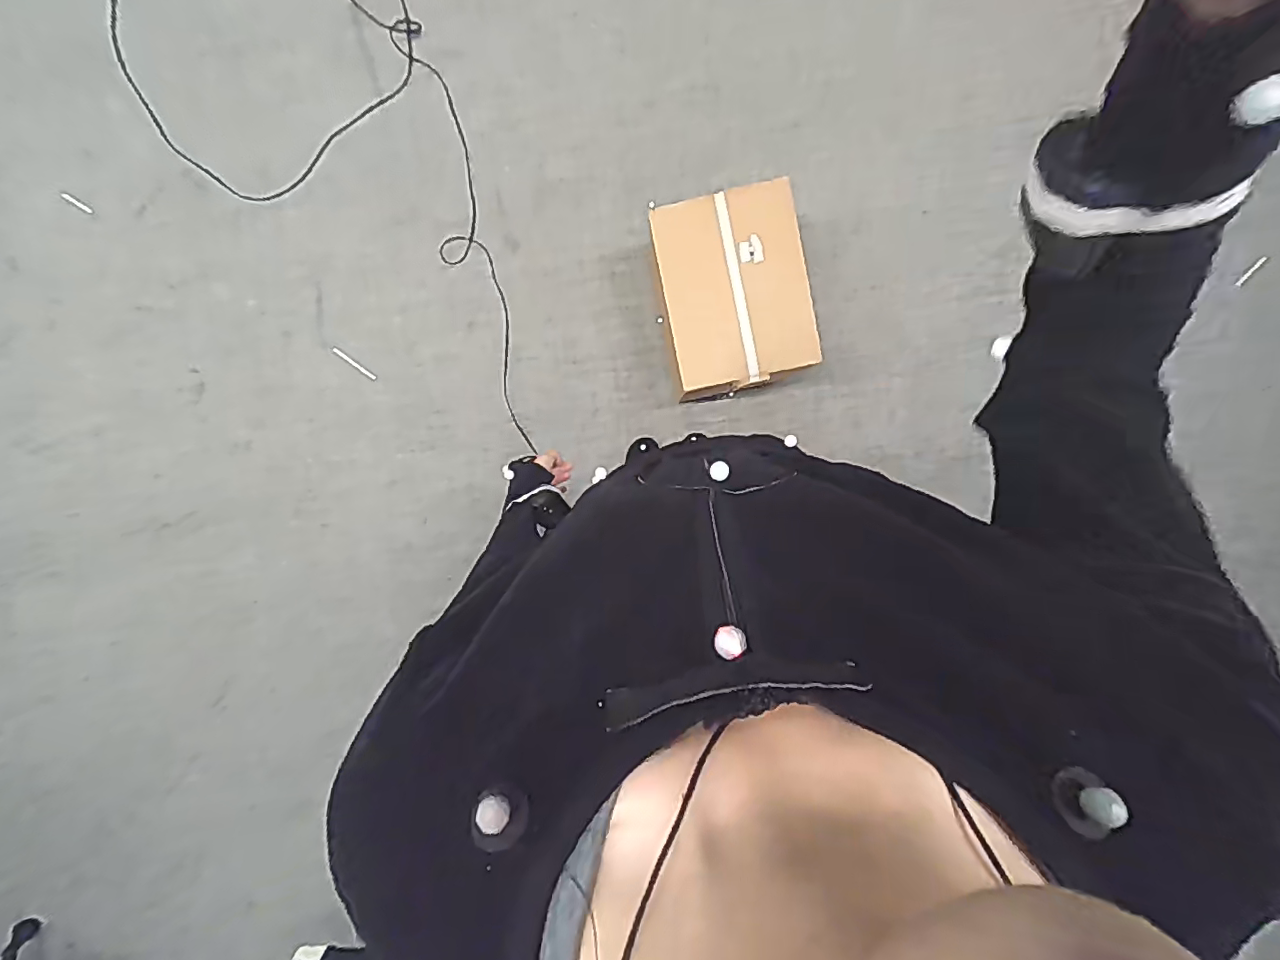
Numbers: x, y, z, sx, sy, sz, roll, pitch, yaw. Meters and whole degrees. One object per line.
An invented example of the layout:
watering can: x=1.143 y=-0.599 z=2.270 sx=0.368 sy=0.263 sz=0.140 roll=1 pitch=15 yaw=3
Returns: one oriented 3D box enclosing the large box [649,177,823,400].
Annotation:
large box: x=0.219 y=-0.436 z=1.326 sx=0.320 sy=0.320 sz=0.408 roll=-12 pitch=92 yaw=3
